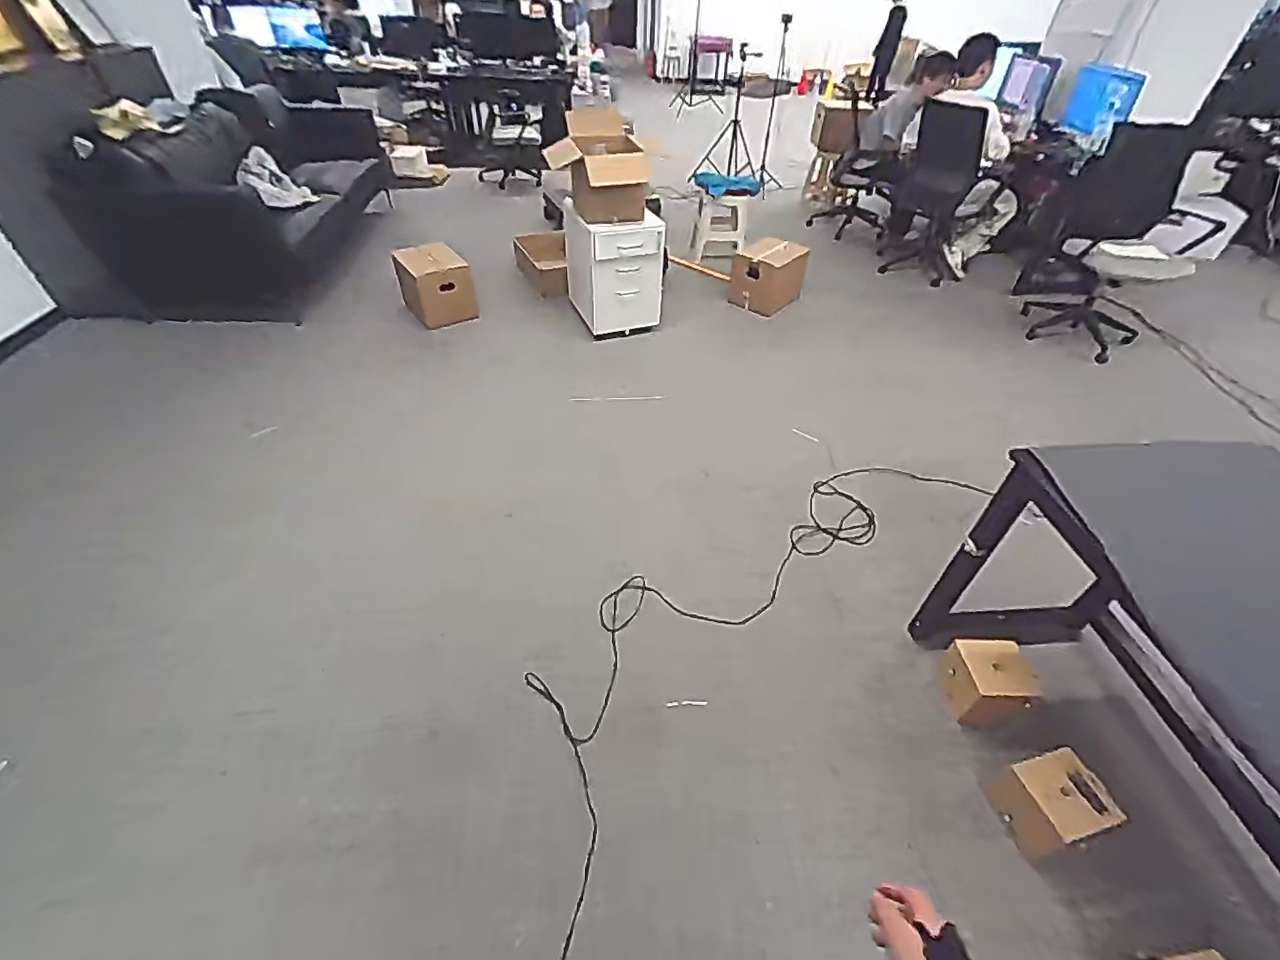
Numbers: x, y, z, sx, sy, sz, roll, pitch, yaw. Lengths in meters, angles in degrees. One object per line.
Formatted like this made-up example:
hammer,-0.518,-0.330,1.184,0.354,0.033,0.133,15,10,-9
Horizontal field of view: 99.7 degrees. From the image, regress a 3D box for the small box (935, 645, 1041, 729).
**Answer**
small box,0.966,0.586,1.526,0.179,0.176,0.168,2,42,-2
